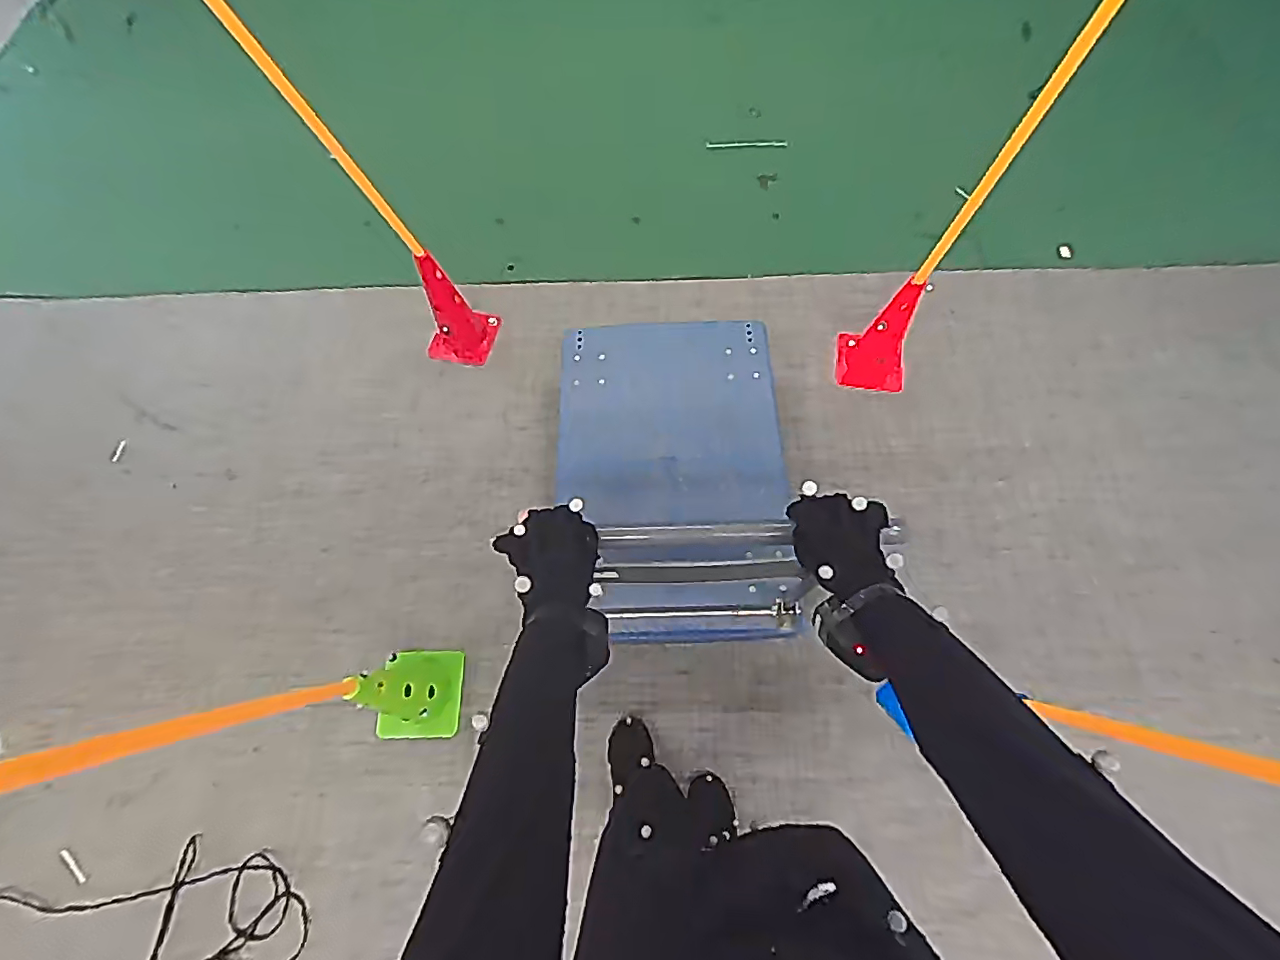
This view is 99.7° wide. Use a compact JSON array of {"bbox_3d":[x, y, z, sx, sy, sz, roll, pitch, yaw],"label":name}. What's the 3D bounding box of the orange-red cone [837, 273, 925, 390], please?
[{"bbox_3d":[0.704,-0.434,1.508,0.198,0.360,0.199,9,69,7],"label":"orange-red cone"}]
